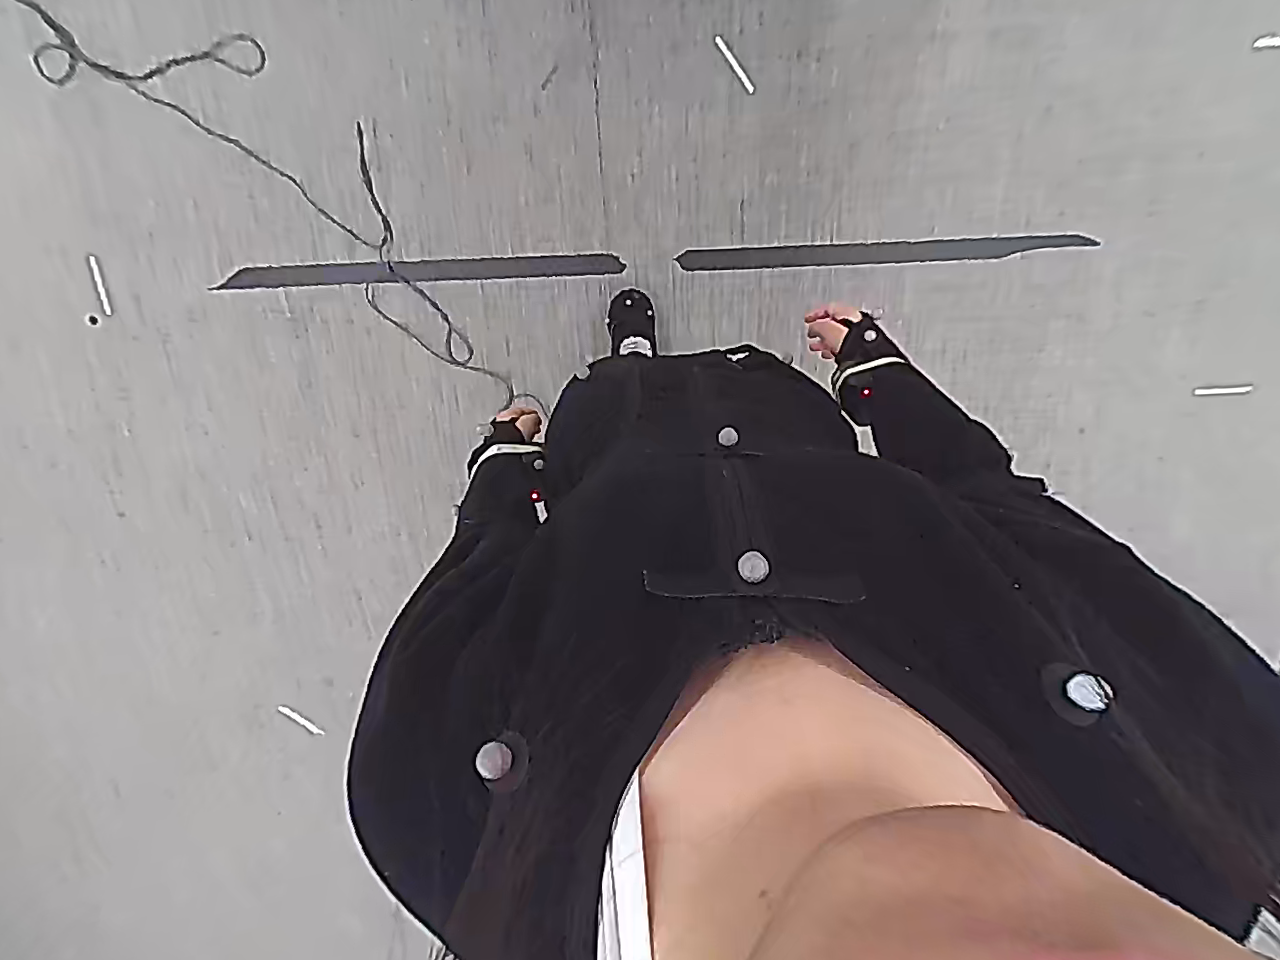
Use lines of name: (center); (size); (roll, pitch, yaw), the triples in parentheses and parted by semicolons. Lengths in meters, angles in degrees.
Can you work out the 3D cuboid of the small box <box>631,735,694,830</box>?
small box: (0.065, 0.912, 1.639); (0.168, 0.176, 0.179); (-9, 106, 0)
